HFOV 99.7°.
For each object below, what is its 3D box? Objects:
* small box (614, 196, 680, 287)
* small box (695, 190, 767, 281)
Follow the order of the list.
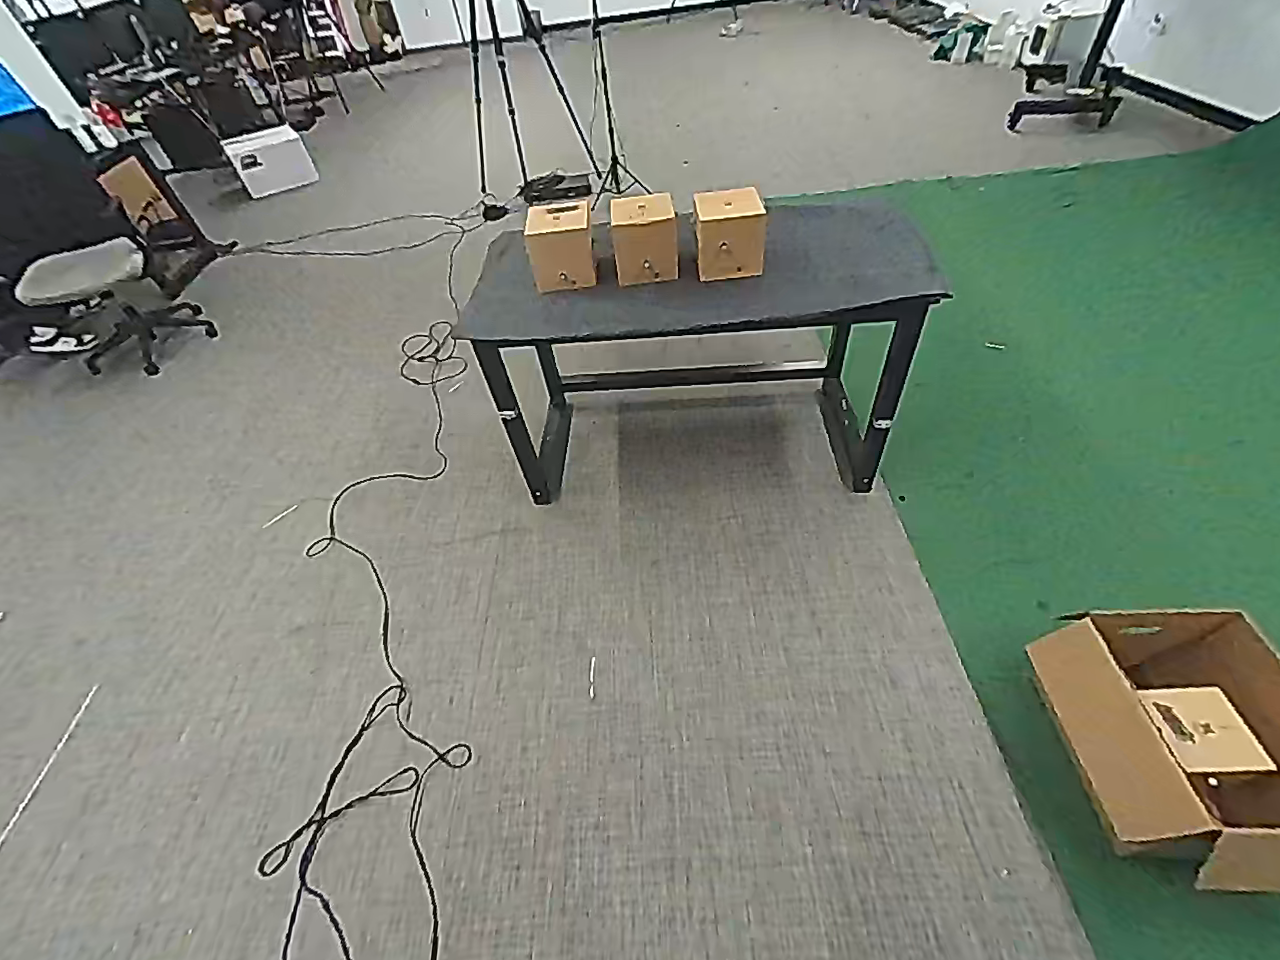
[{"bbox_3d":[0.019,-0.651,1.481,0.168,0.176,0.179,-6,47,3],"label":"small box"},{"bbox_3d":[0.241,-0.649,1.451,0.168,0.176,0.179,-5,47,3],"label":"small box"}]
